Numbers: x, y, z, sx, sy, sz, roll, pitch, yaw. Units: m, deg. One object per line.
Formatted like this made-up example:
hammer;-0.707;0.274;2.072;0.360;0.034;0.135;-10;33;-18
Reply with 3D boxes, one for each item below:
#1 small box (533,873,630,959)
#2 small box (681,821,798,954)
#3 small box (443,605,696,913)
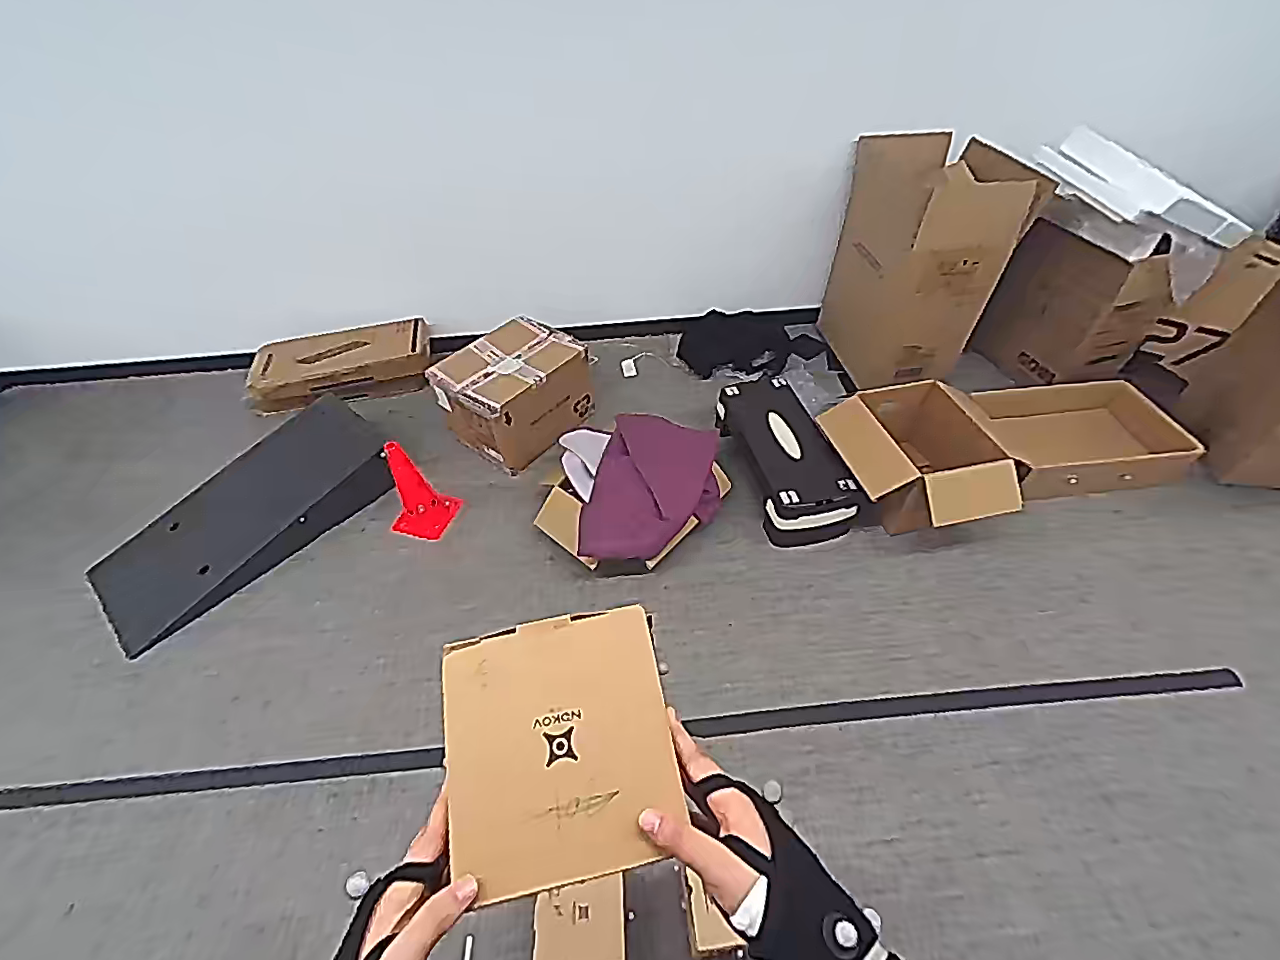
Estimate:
small box;-0.112;0.891;1.105;0.179;0.176;0.168;-4;47;0
small box;0.171;0.752;0.996;0.179;0.176;0.168;-6;47;-3
small box;-0.059;0.225;0.461;0.168;0.176;0.179;-10;64;-6
